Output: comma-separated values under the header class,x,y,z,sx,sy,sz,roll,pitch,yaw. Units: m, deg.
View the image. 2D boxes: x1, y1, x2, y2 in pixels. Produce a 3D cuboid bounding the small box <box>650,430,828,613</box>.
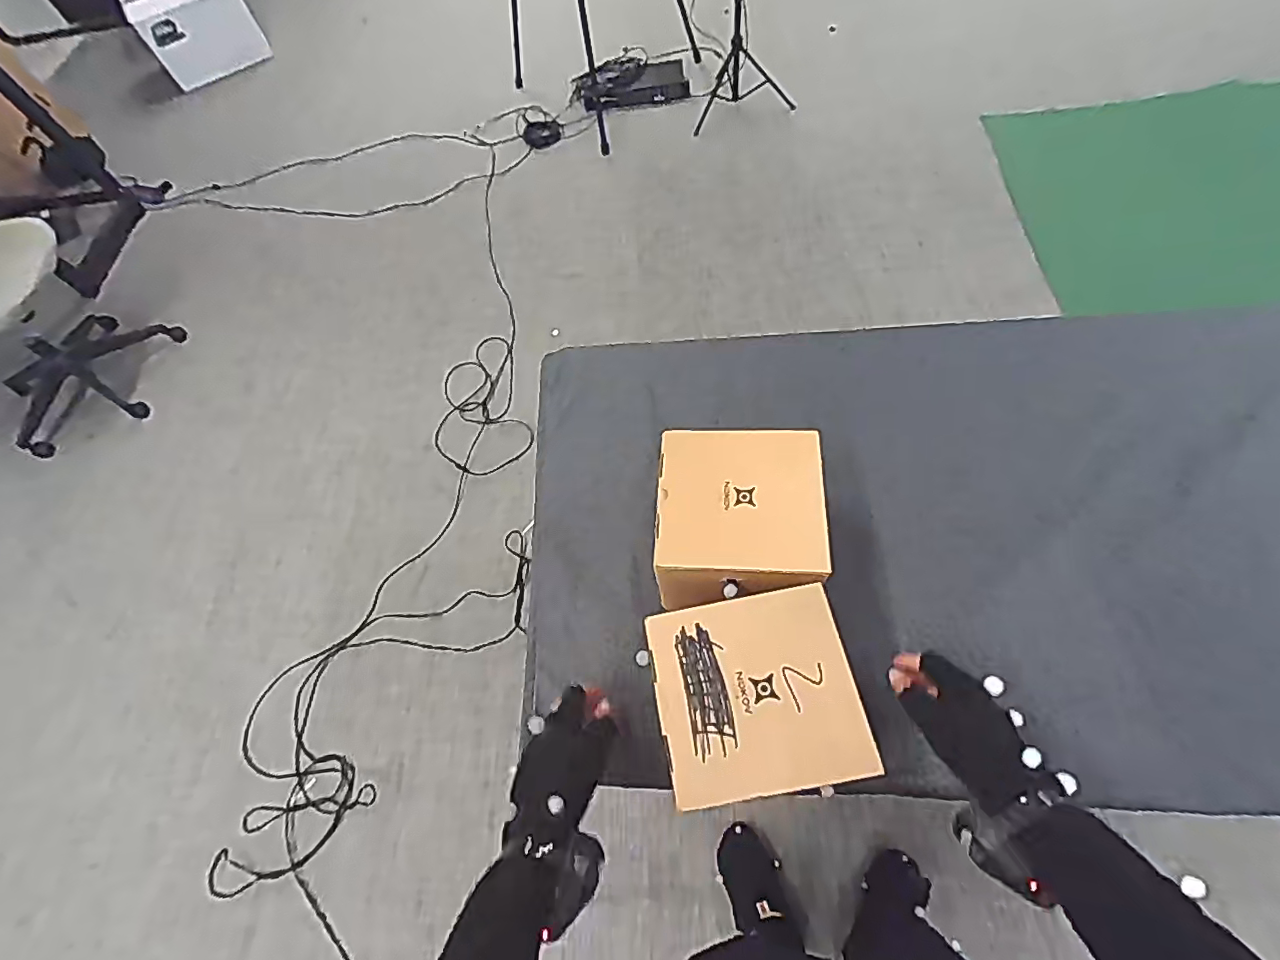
class,x,y,z,sx,sy,sz,roll,pitch,yaw
small box,0.112,0.055,0.639,0.179,0.176,0.168,0,62,9
